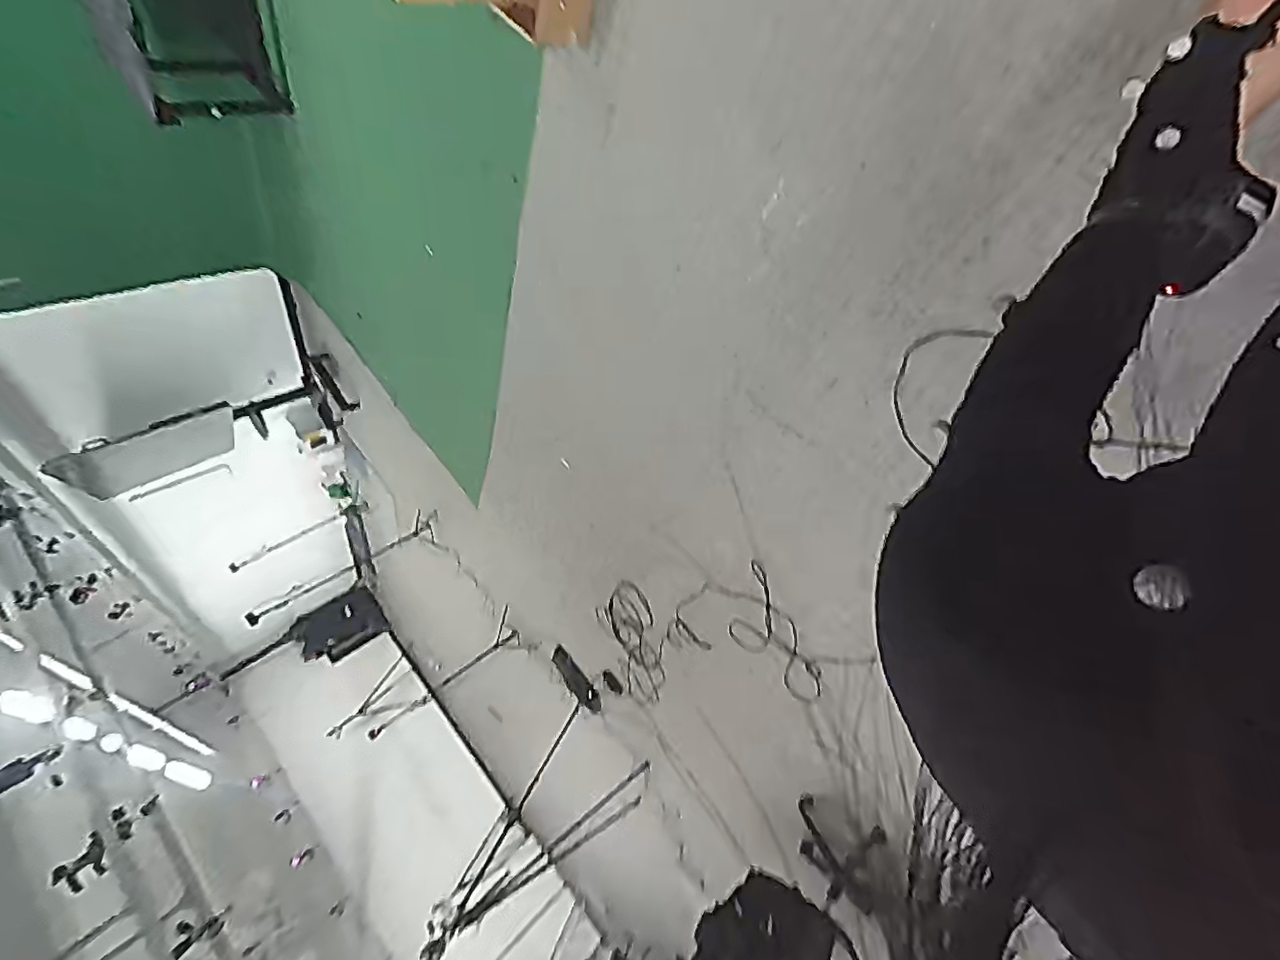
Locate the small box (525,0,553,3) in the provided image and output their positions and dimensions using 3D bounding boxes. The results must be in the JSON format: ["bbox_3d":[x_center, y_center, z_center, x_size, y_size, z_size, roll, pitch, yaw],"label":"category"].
[{"bbox_3d":[-0.349,-1.491,1.532,0.179,0.176,0.168,46,142,15],"label":"small box"}]

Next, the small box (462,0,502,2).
[{"bbox_3d":[-0.456,-1.411,1.436,0.179,0.176,0.168,48,142,14],"label":"small box"}]
